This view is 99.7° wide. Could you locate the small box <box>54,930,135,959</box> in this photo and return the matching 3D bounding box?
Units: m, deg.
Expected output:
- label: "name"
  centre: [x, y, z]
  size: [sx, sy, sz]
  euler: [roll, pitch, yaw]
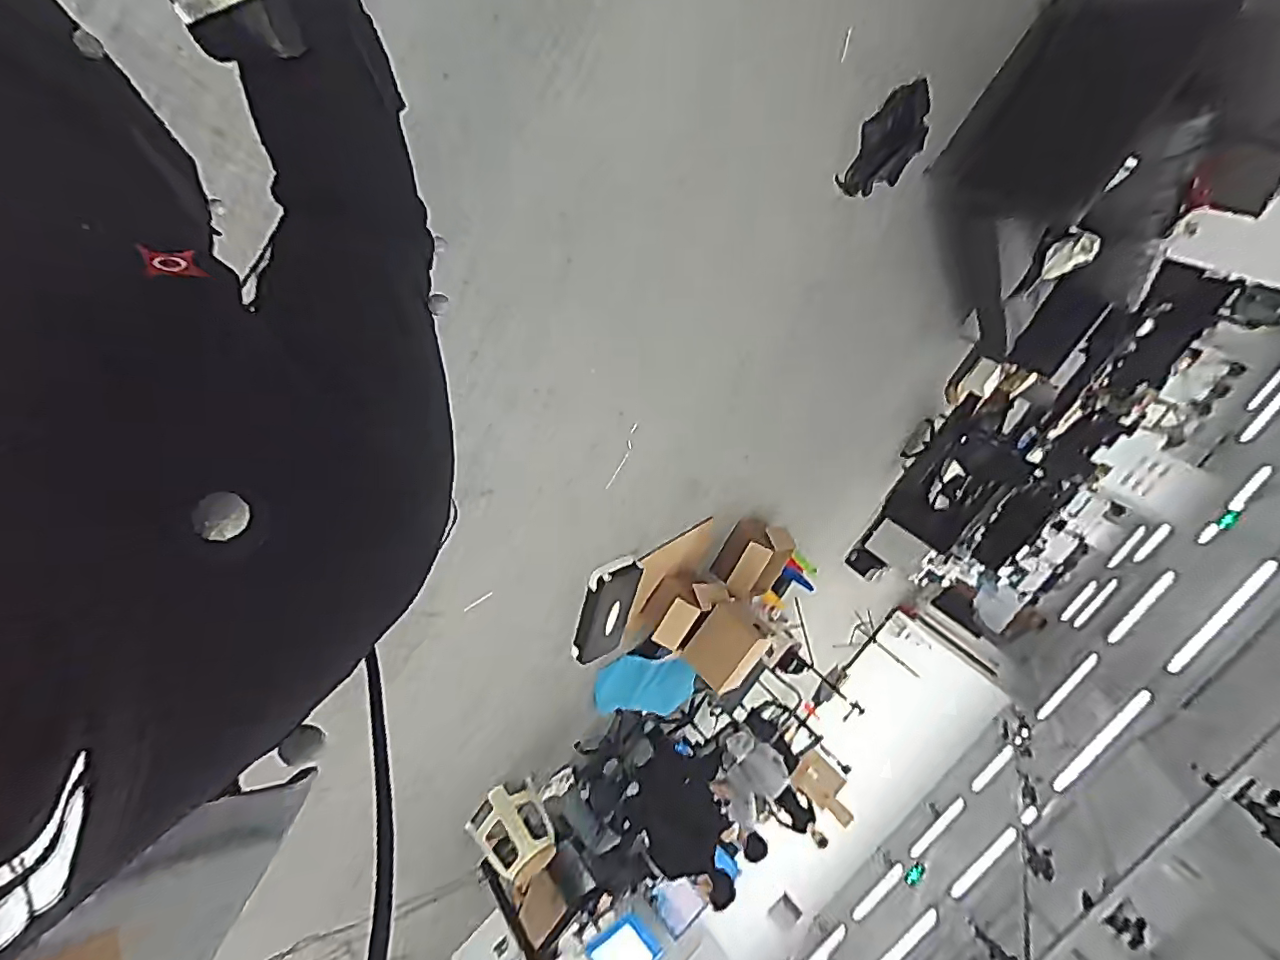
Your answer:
- label: "small box"
  centre: [-0.871, 0.829, 0.790]
  size: [0.179, 0.176, 0.168]
  euler: [9, 117, -54]
